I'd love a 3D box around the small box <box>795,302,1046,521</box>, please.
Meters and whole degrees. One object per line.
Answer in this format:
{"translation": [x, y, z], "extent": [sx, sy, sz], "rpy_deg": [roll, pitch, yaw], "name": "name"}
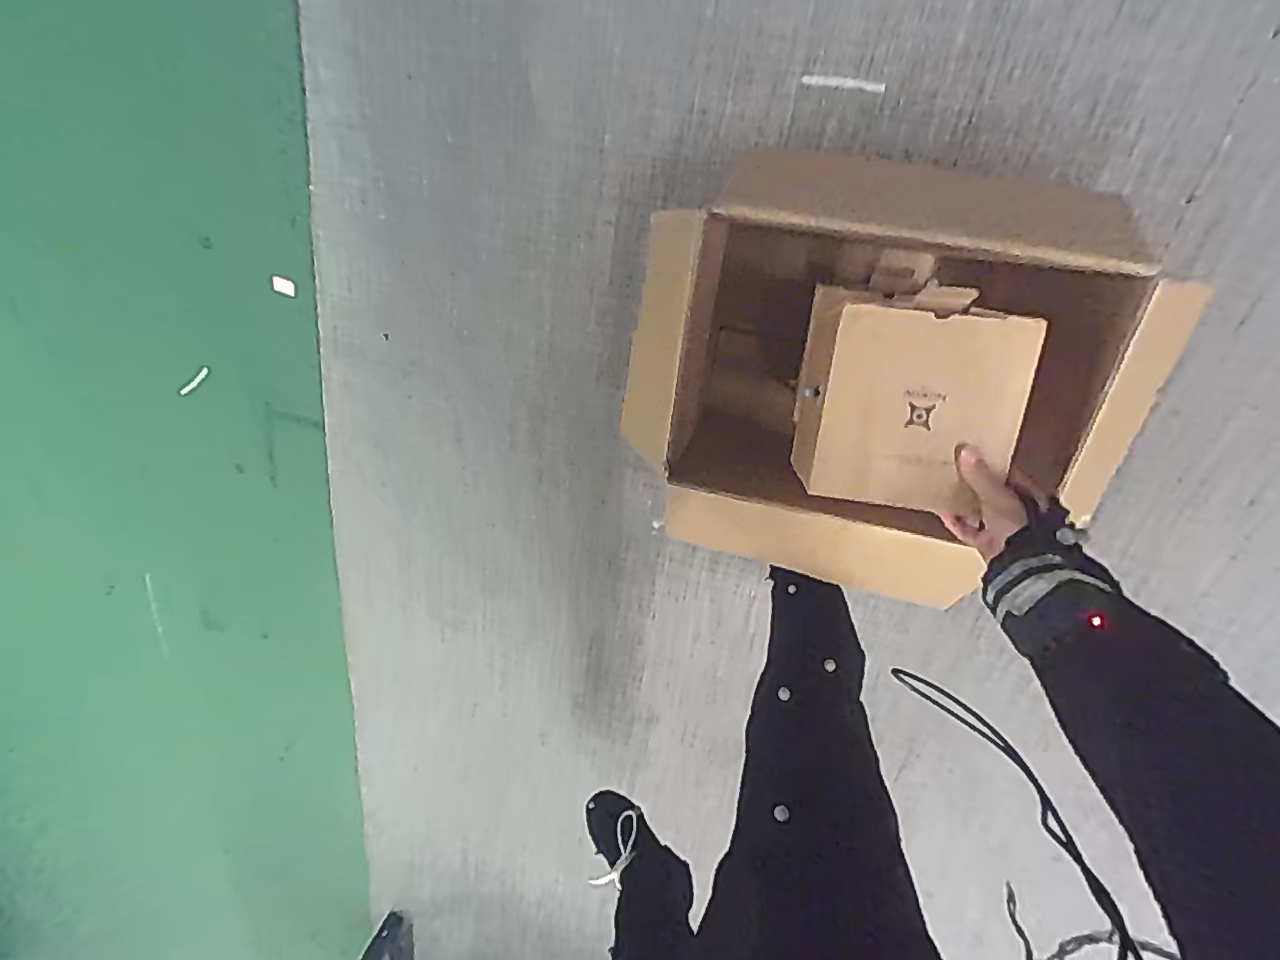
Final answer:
{"translation": [0.261, -0.074, 0.553], "extent": [0.168, 0.176, 0.179], "rpy_deg": [9, 103, 8], "name": "small box"}
